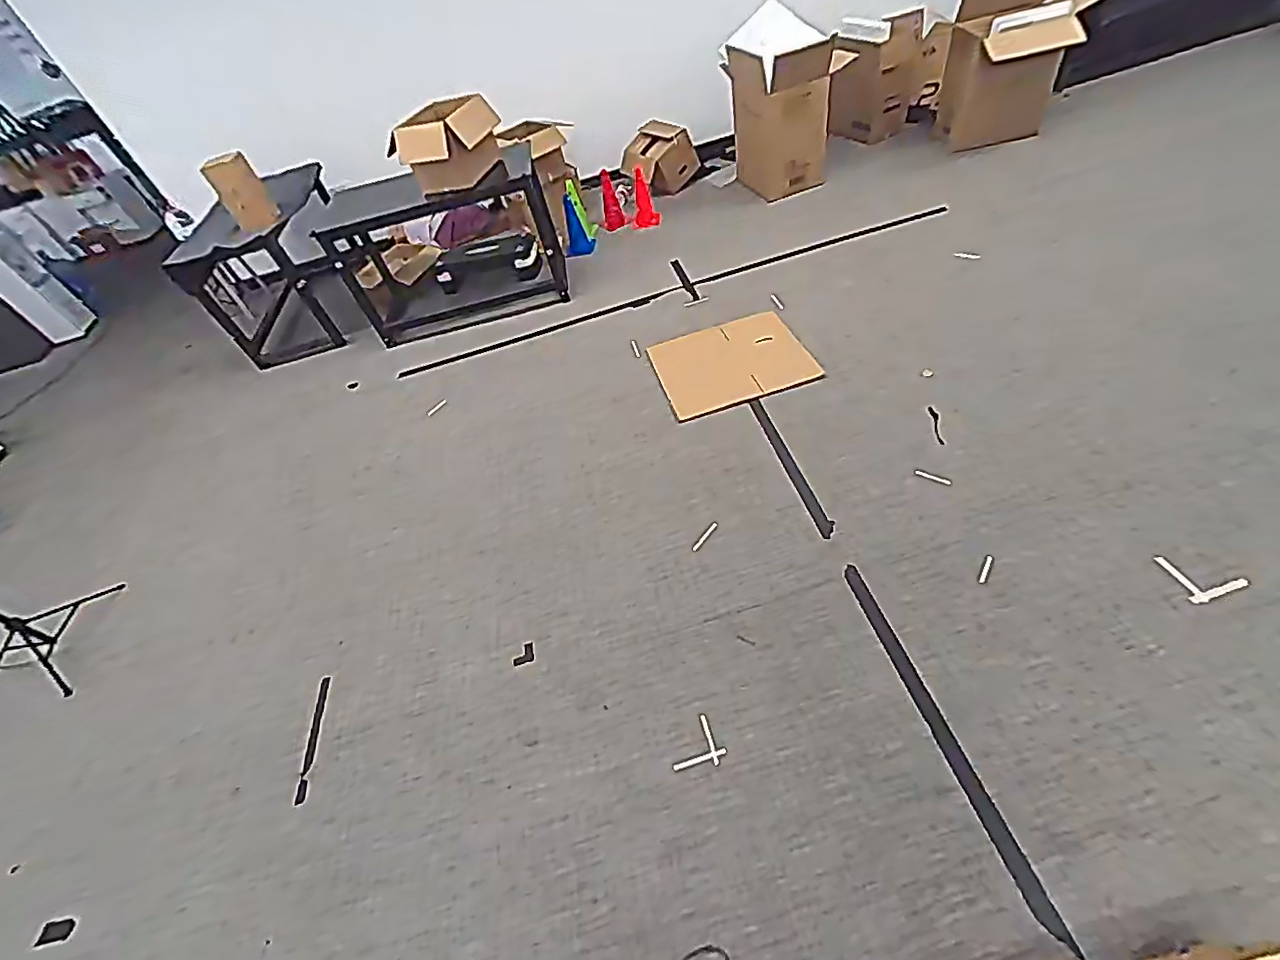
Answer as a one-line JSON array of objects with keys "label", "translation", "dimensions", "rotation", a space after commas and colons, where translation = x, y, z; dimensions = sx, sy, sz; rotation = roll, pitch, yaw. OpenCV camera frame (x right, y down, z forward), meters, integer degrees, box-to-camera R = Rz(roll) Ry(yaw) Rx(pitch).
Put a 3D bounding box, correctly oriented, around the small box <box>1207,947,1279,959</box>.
[{"label": "small box", "translation": [1.056, 0.874, 0.863], "dimensions": [0.168, 0.176, 0.179], "rotation": [-15, 46, 0]}]
